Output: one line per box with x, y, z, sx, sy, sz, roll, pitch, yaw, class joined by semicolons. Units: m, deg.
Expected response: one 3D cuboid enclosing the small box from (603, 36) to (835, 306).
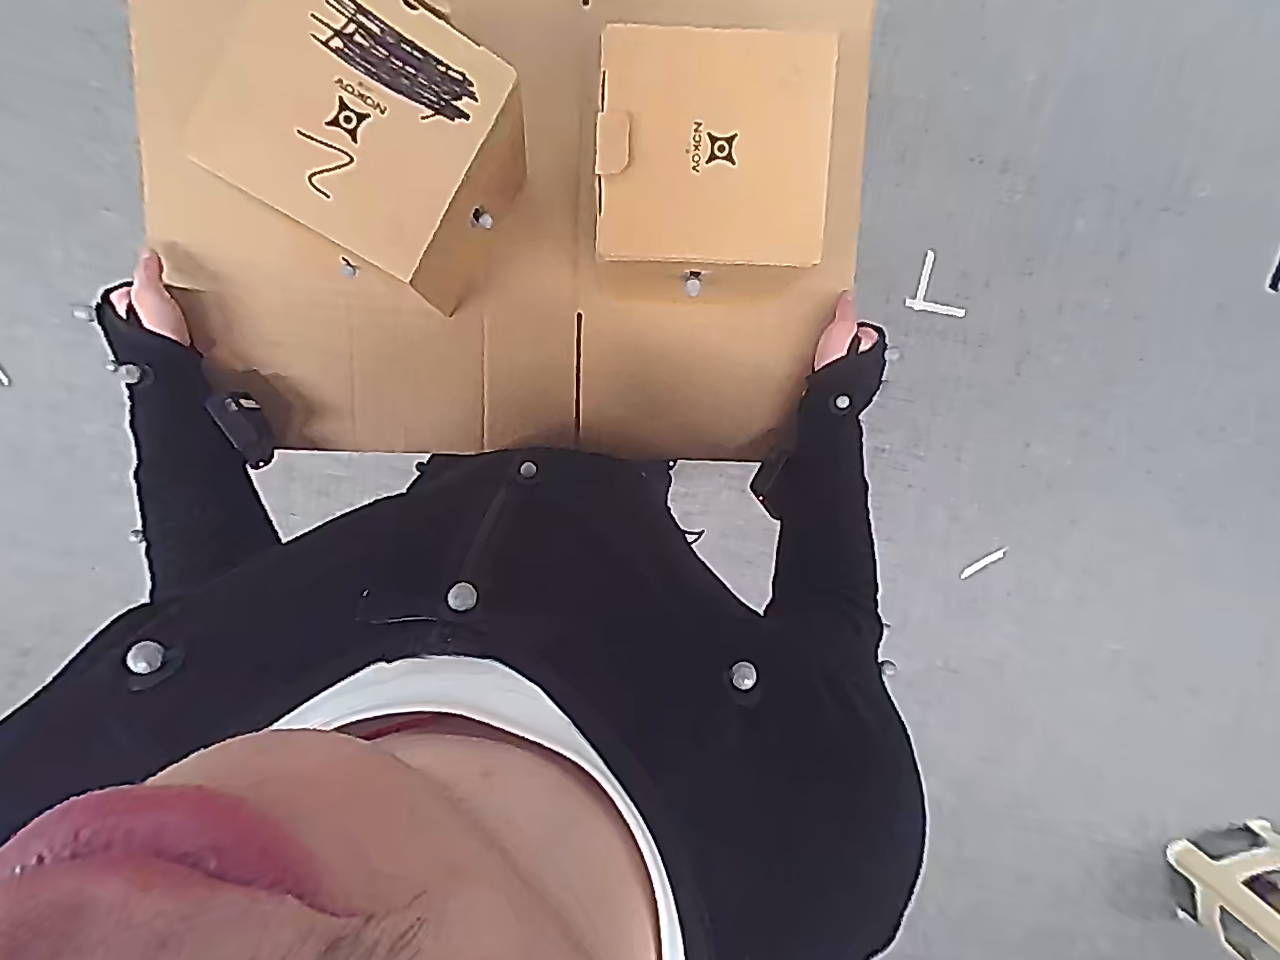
0.059;-0.263;0.502;0.179;0.176;0.168;2;97;0;small box
